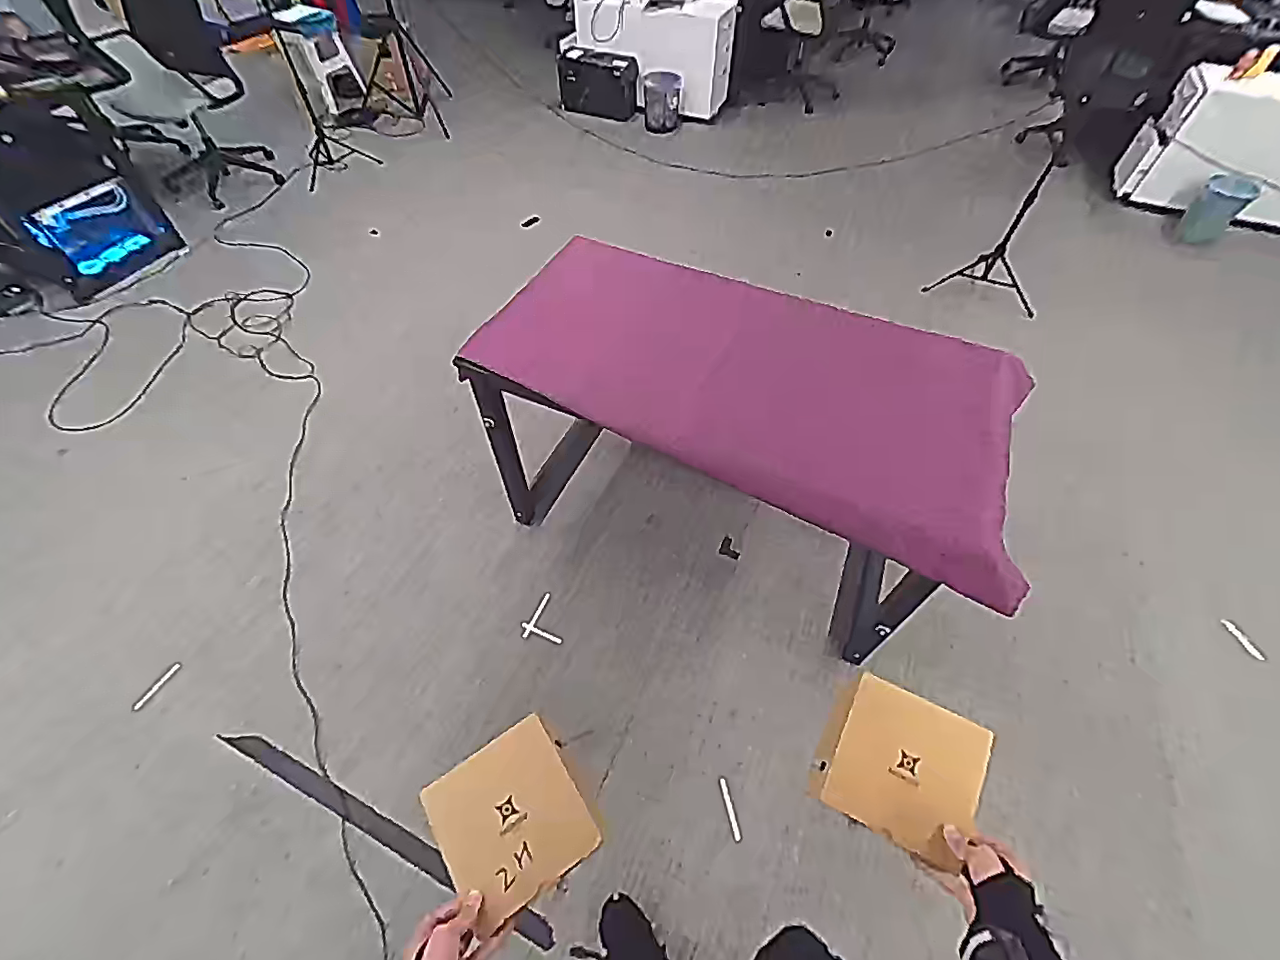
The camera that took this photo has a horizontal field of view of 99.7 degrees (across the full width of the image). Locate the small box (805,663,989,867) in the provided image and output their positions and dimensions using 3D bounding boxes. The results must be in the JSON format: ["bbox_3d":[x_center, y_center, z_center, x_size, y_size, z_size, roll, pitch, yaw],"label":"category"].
[{"bbox_3d":[0.339,0.379,0.744,0.168,0.176,0.179,23,70,19],"label":"small box"}]

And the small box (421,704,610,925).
[{"bbox_3d":[-0.155,0.433,0.718,0.168,0.176,0.179,-31,63,-15],"label":"small box"}]
